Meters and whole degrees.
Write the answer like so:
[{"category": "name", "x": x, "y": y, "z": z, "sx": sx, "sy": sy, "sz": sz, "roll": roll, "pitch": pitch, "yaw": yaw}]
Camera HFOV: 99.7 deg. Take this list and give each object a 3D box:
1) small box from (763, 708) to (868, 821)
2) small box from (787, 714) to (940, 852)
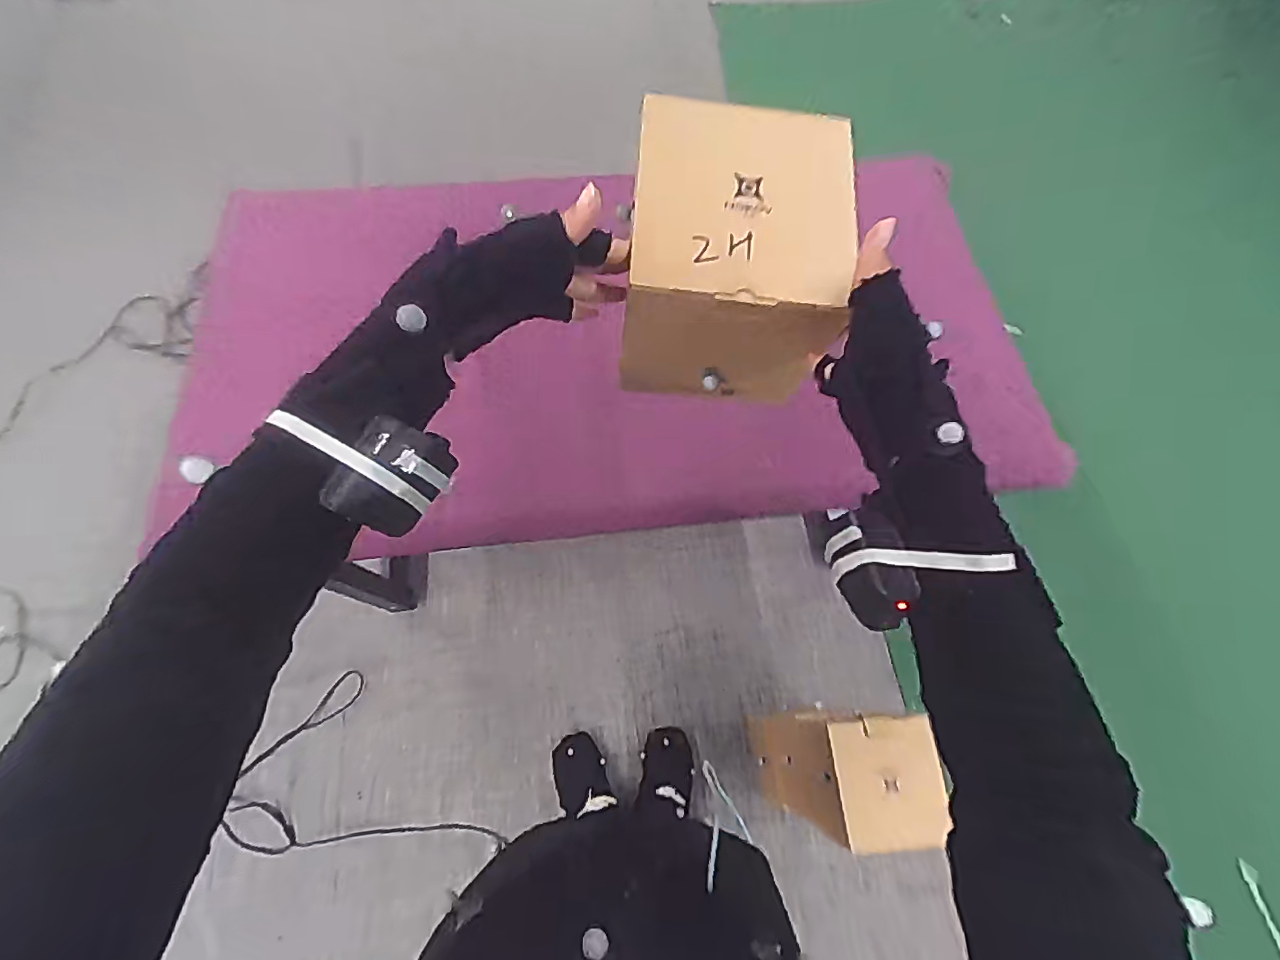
[{"category": "small box", "x": 0.350, "y": 0.546, "z": 1.058, "sx": 0.168, "sy": 0.176, "sz": 0.179, "roll": -2, "pitch": 68, "yaw": -3}, {"category": "small box", "x": 0.360, "y": 0.494, "z": 0.905, "sx": 0.168, "sy": 0.176, "sz": 0.179, "roll": -3, "pitch": 68, "yaw": -4}]
